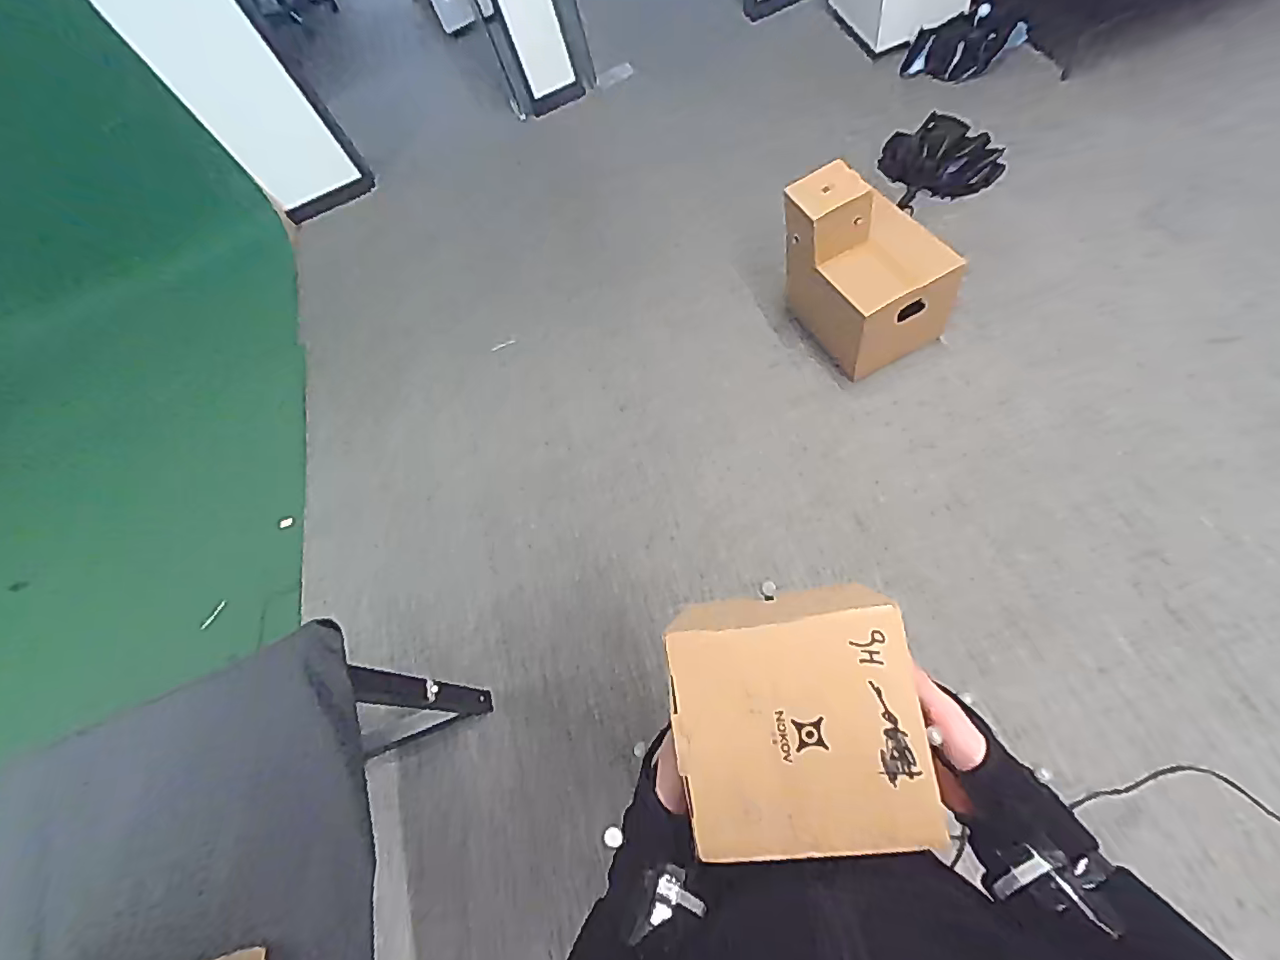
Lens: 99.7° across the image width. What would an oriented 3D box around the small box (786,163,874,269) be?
[{"bbox_3d":[0.534,-0.743,1.533,0.179,0.176,0.168,-28,59,5],"label":"small box"}]
